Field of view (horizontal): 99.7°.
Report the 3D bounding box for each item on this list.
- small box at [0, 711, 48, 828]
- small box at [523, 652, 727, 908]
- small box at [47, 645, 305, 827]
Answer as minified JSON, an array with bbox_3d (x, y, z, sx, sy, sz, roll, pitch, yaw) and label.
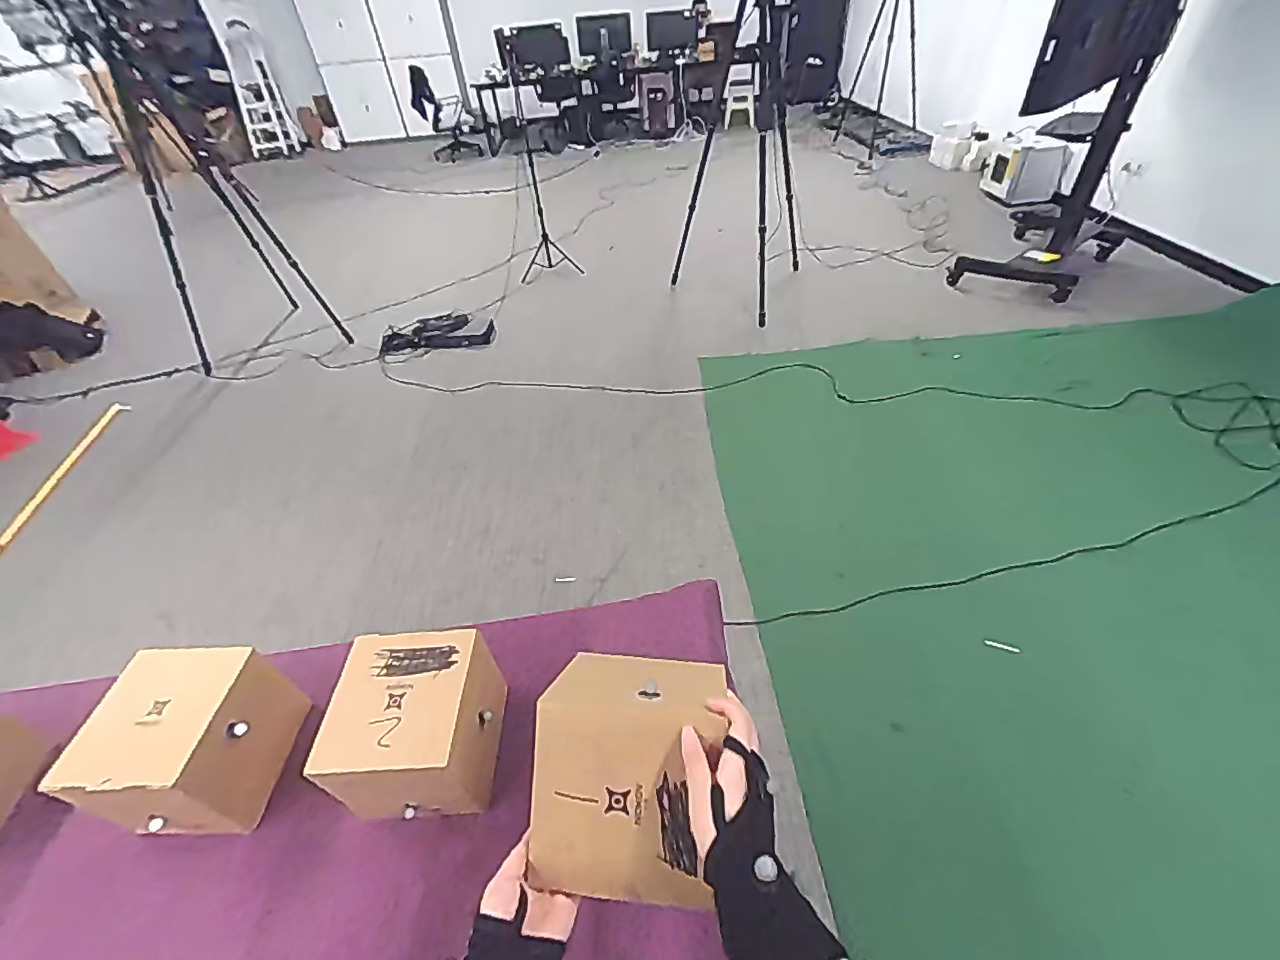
[{"bbox_3d":[-0.955,0.402,0.702,0.168,0.176,0.179,-8,43,-2],"label":"small box"},{"bbox_3d":[-0.005,0.285,0.556,0.179,0.176,0.168,3,88,8],"label":"small box"},{"bbox_3d":[-0.593,0.343,0.728,0.168,0.176,0.179,-3,44,4],"label":"small box"}]
